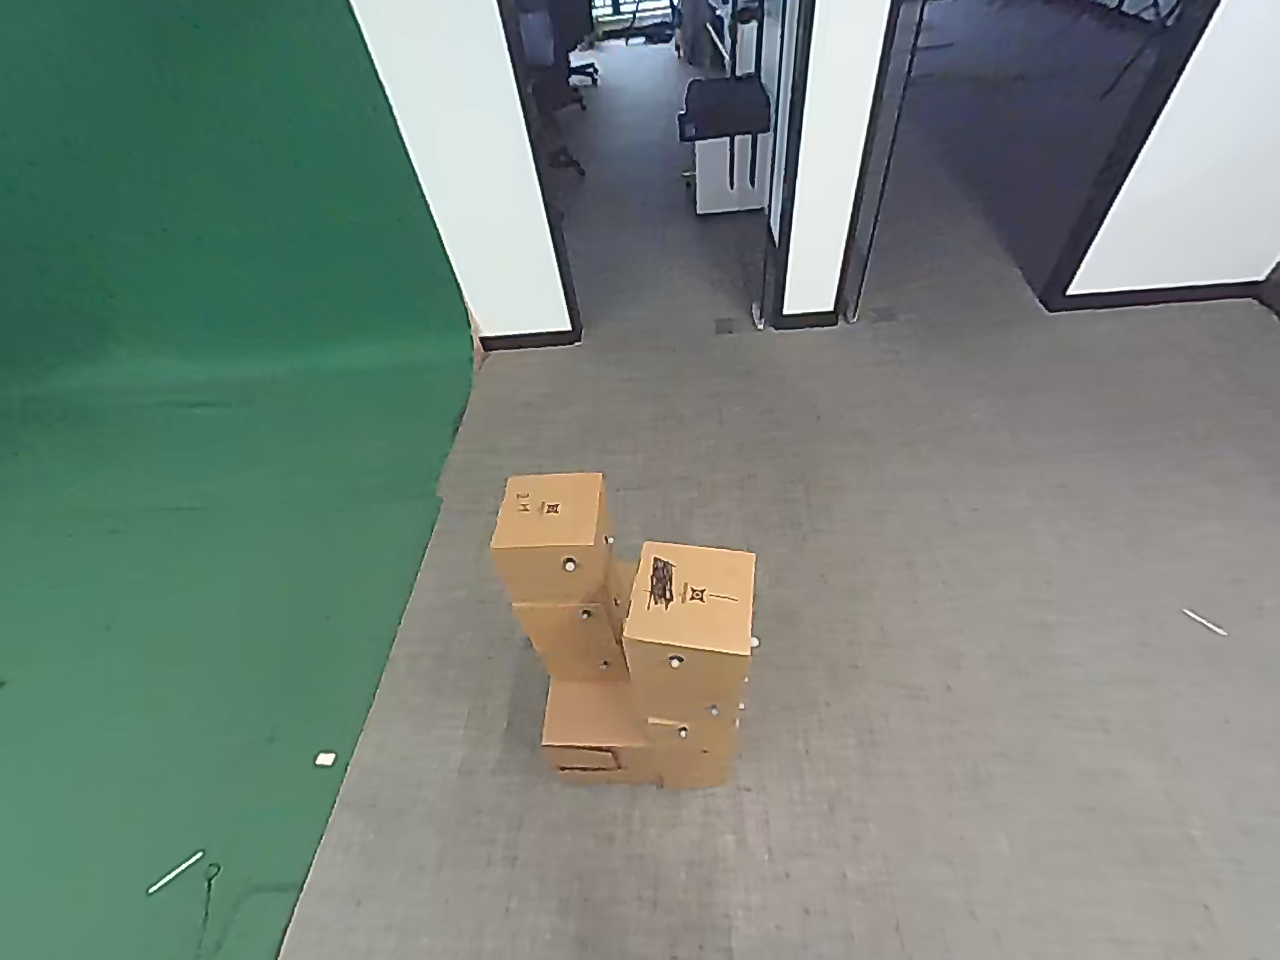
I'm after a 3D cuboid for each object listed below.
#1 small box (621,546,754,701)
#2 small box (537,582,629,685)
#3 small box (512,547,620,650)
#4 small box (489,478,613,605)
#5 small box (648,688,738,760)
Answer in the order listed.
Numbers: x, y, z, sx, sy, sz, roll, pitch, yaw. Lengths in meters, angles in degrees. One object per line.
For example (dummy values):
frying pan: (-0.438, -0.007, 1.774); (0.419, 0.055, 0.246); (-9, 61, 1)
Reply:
small box: (0.078, 0.224, 0.838); (0.179, 0.176, 0.168); (5, 49, 10)
small box: (-0.116, 0.345, 1.209); (0.179, 0.176, 0.168); (-5, 45, 5)
small box: (-0.140, 0.232, 1.095); (0.179, 0.176, 0.168); (-3, 45, 4)
small box: (-0.148, 0.114, 0.980); (0.179, 0.176, 0.168); (-2, 45, 6)
small box: (0.110, 0.438, 1.087); (0.168, 0.176, 0.179); (1, 47, 8)
